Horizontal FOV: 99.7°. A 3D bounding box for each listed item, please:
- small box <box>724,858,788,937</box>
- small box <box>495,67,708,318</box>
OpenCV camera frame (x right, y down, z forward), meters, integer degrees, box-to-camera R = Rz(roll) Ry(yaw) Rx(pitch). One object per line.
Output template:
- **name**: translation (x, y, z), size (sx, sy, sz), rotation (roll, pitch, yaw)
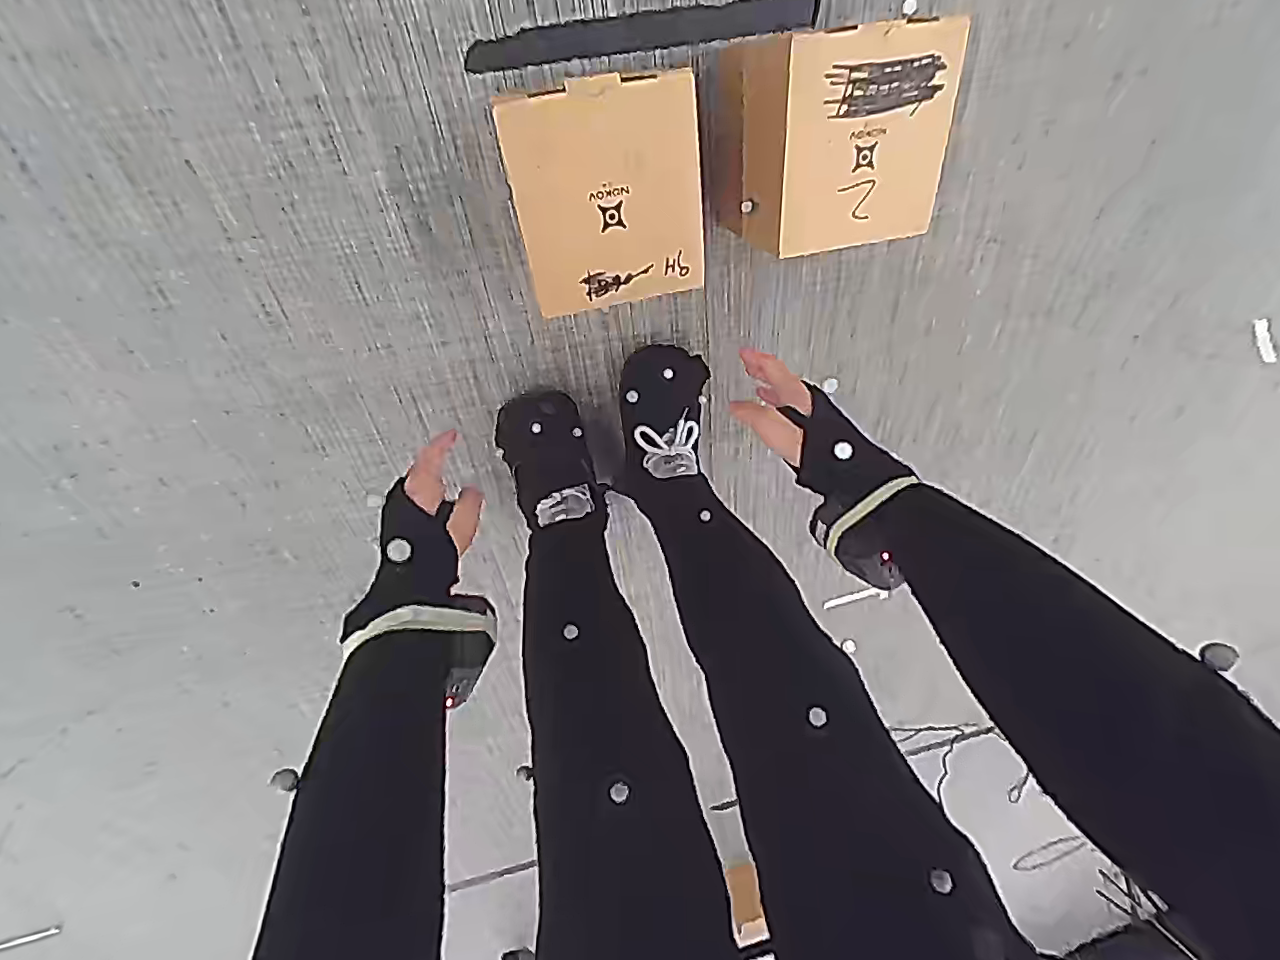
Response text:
- **small box**: translation (0.419, 1.517, 1.972), size (0.179, 0.176, 0.168), rotation (-11, 126, -7)
- **small box**: translation (-0.041, -0.285, 0.534), size (0.168, 0.176, 0.179), rotation (-14, 128, -6)
